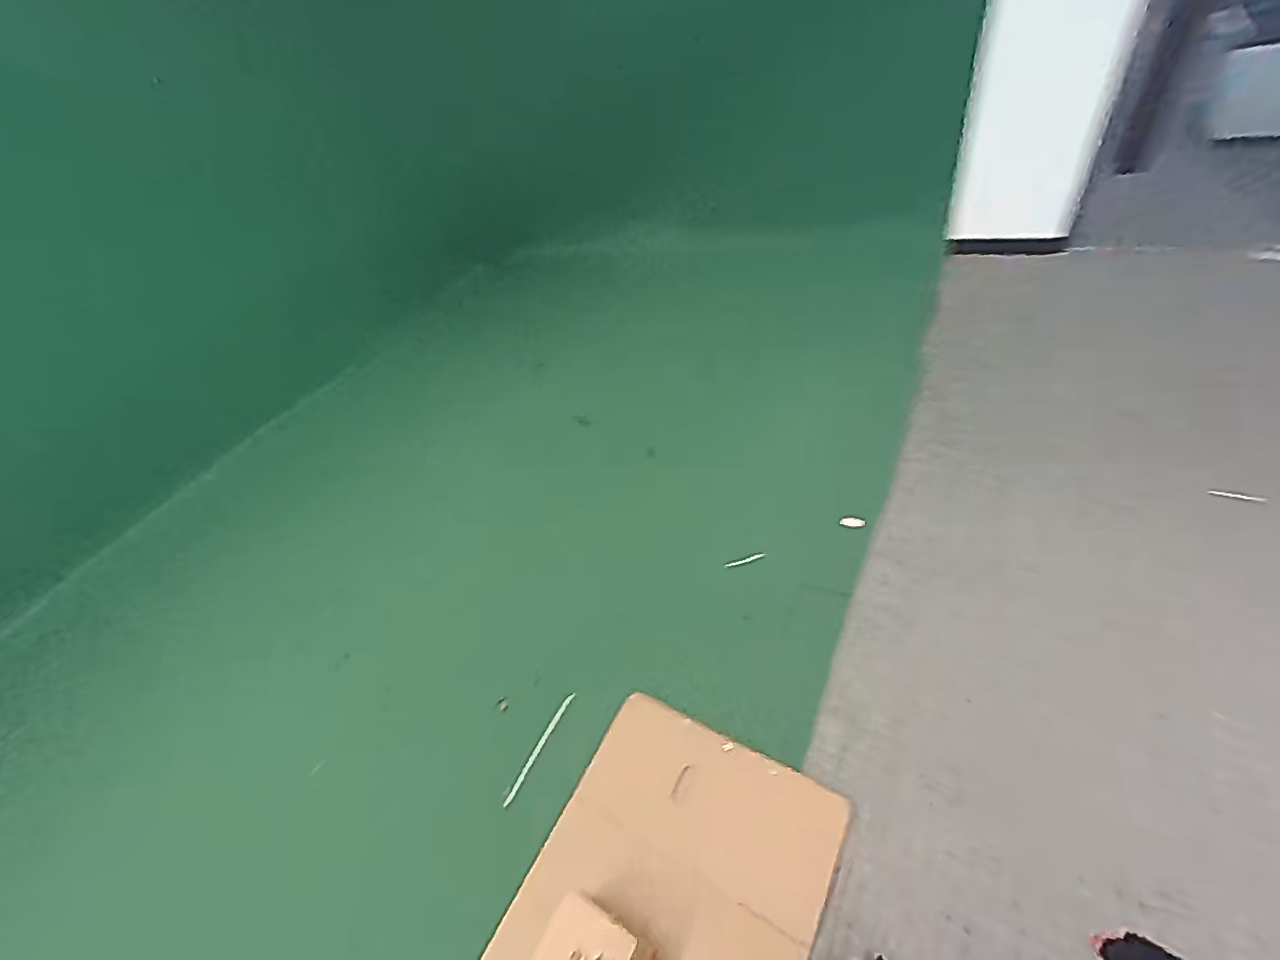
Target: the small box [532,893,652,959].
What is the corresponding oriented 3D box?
[{"bbox_3d":[-0.097,0.965,1.069,0.179,0.176,0.168,16,54,30],"label":"small box"}]
